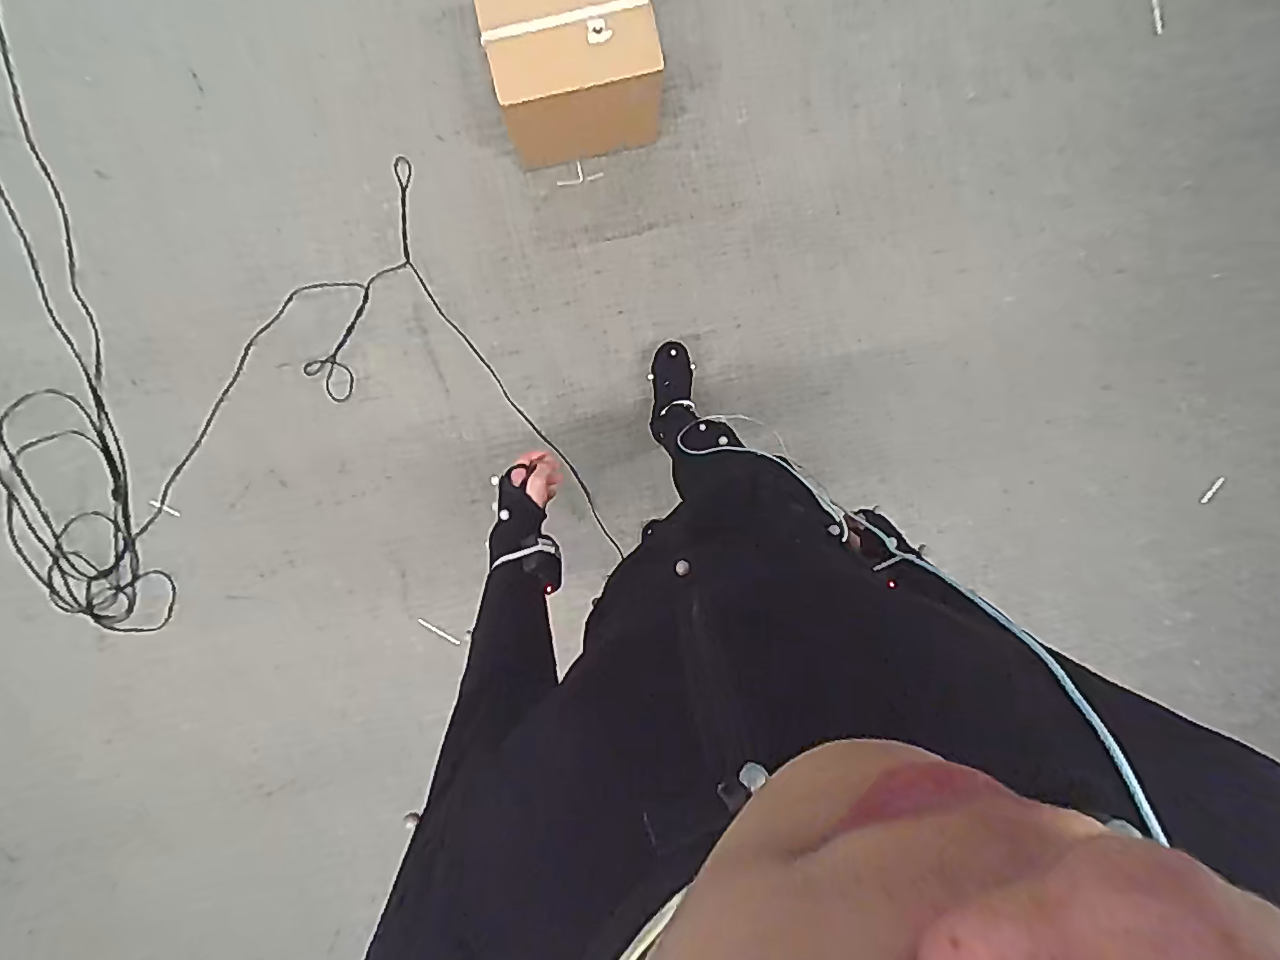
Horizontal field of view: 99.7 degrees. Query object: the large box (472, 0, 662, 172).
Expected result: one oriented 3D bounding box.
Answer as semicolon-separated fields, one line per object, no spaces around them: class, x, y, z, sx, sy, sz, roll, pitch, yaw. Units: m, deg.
large box;-0.180;-1.085;1.425;0.408;0.320;0.320;-14;93;-1
